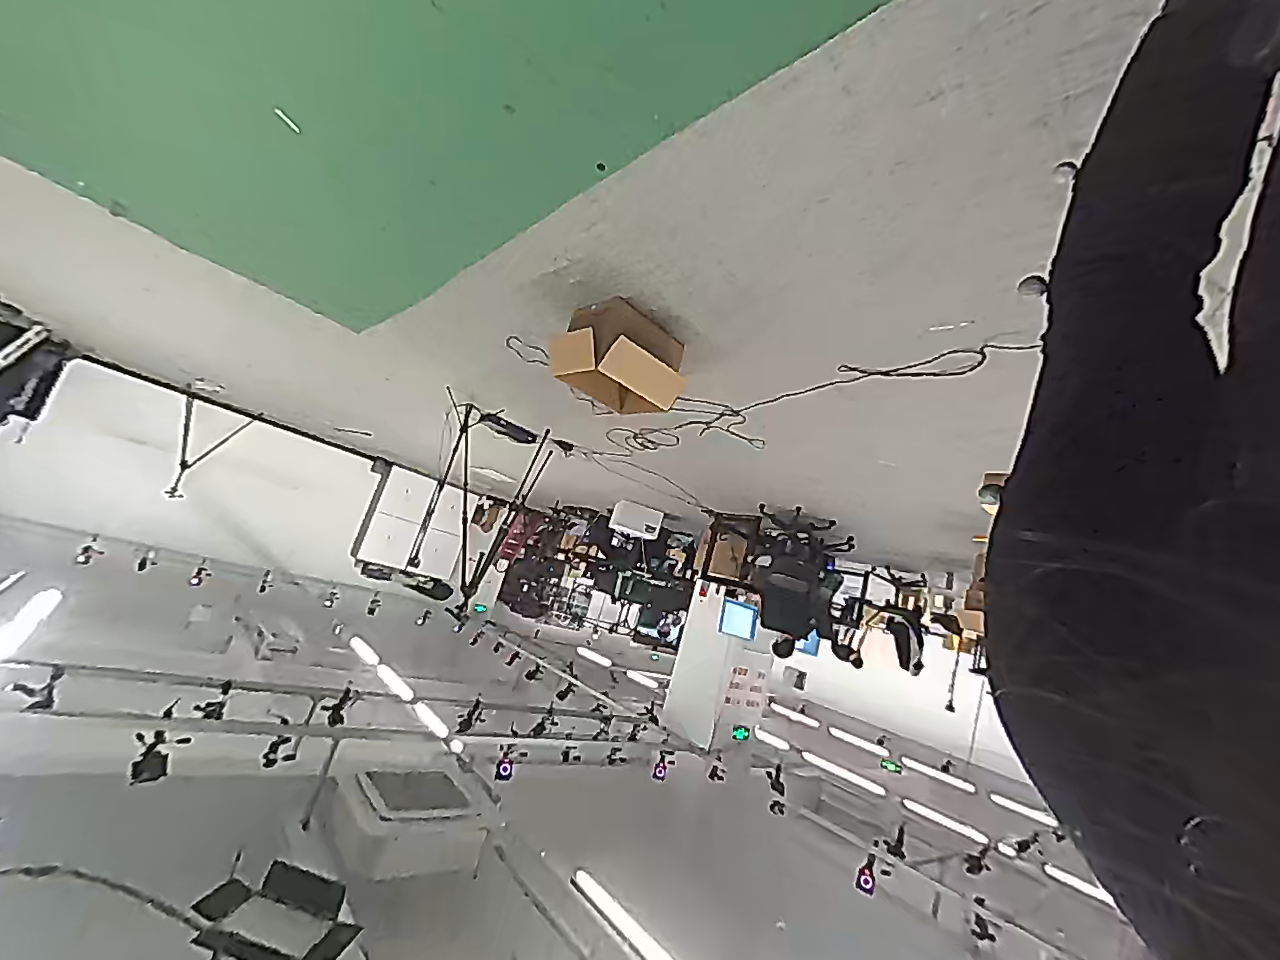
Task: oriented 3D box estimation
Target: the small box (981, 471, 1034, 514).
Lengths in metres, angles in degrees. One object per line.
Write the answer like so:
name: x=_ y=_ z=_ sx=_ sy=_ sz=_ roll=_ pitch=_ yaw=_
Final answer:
small box: x=1.838 y=0.058 z=2.697 sx=0.168 sy=0.176 sz=0.179 roll=25 pitch=165 yaw=-37
